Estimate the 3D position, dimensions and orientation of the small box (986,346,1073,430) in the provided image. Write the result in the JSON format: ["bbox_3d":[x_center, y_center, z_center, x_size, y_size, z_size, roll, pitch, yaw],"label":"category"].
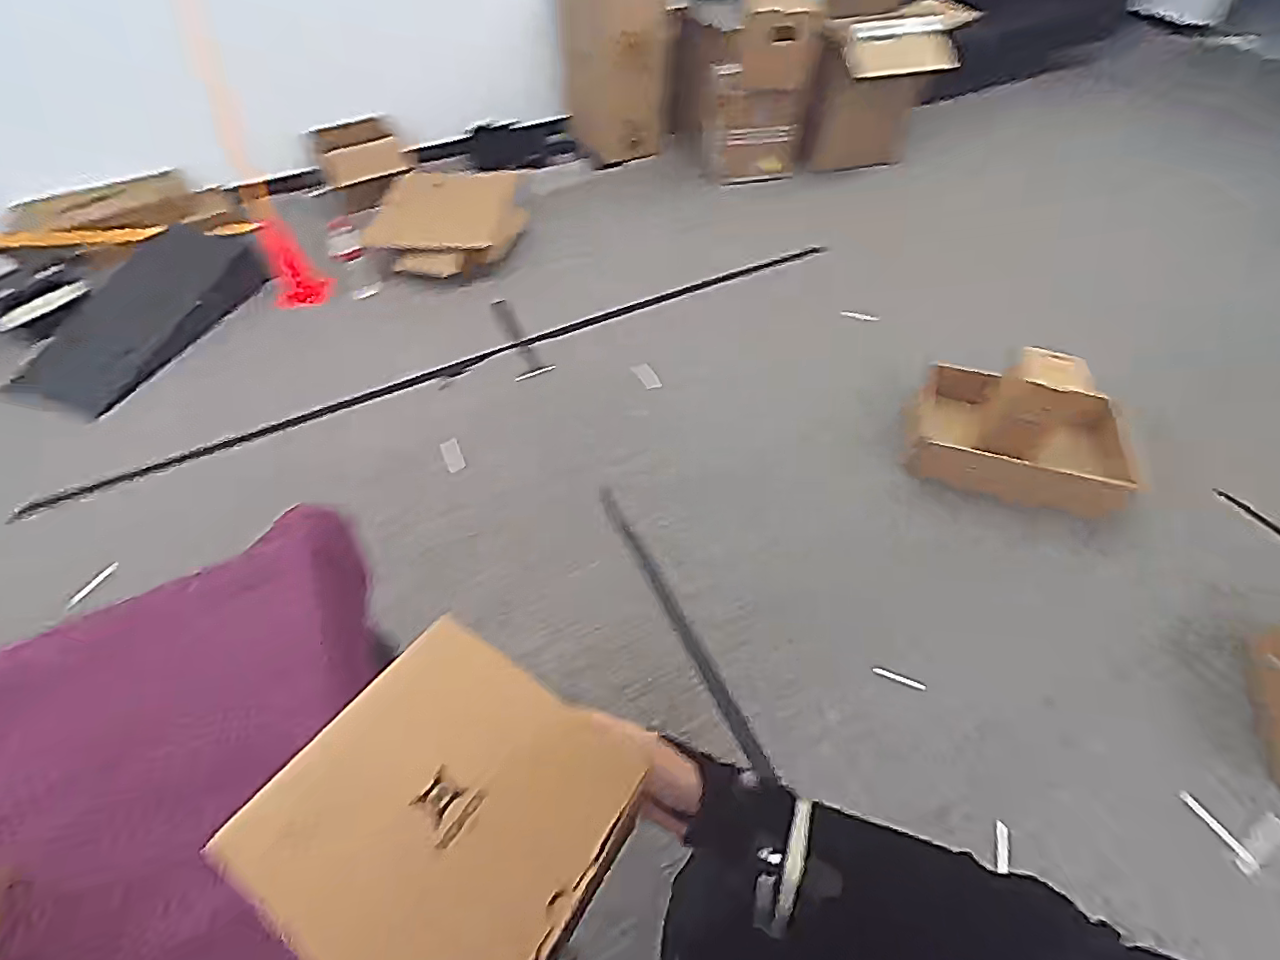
[{"bbox_3d":[1.214,-0.284,1.695,0.168,0.176,0.179,18,55,12],"label":"small box"}]

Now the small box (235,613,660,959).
[{"bbox_3d":[-0.111,0.232,0.366,0.179,0.176,0.168,29,51,17],"label":"small box"}]
